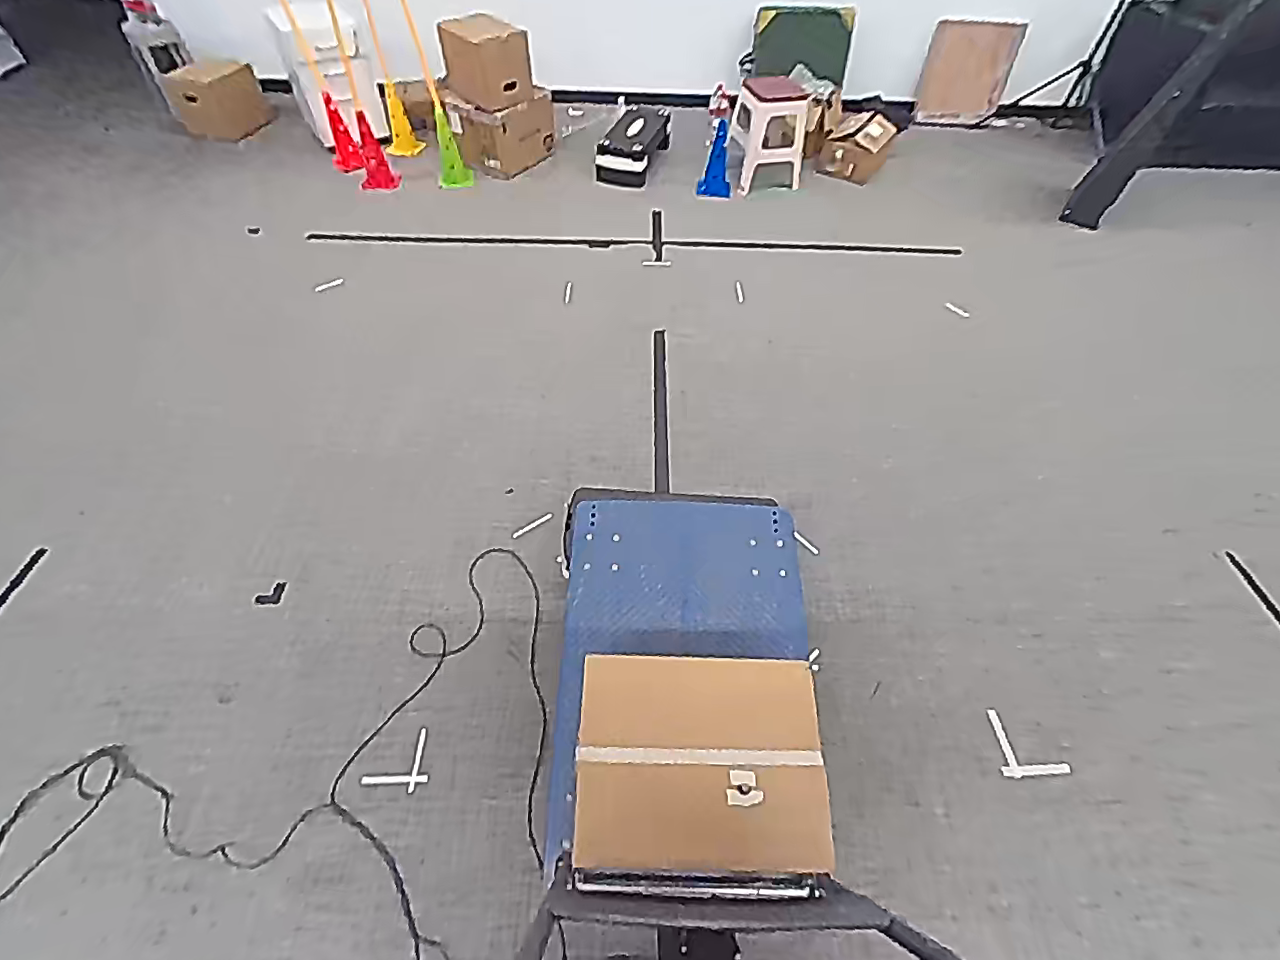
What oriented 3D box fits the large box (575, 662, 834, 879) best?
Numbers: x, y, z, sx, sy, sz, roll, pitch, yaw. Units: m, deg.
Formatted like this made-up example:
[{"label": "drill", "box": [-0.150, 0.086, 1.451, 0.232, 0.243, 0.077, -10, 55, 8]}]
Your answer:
[{"label": "large box", "box": [0.091, 0.533, 1.015, 0.408, 0.320, 0.320, 2, 62, -2]}]
